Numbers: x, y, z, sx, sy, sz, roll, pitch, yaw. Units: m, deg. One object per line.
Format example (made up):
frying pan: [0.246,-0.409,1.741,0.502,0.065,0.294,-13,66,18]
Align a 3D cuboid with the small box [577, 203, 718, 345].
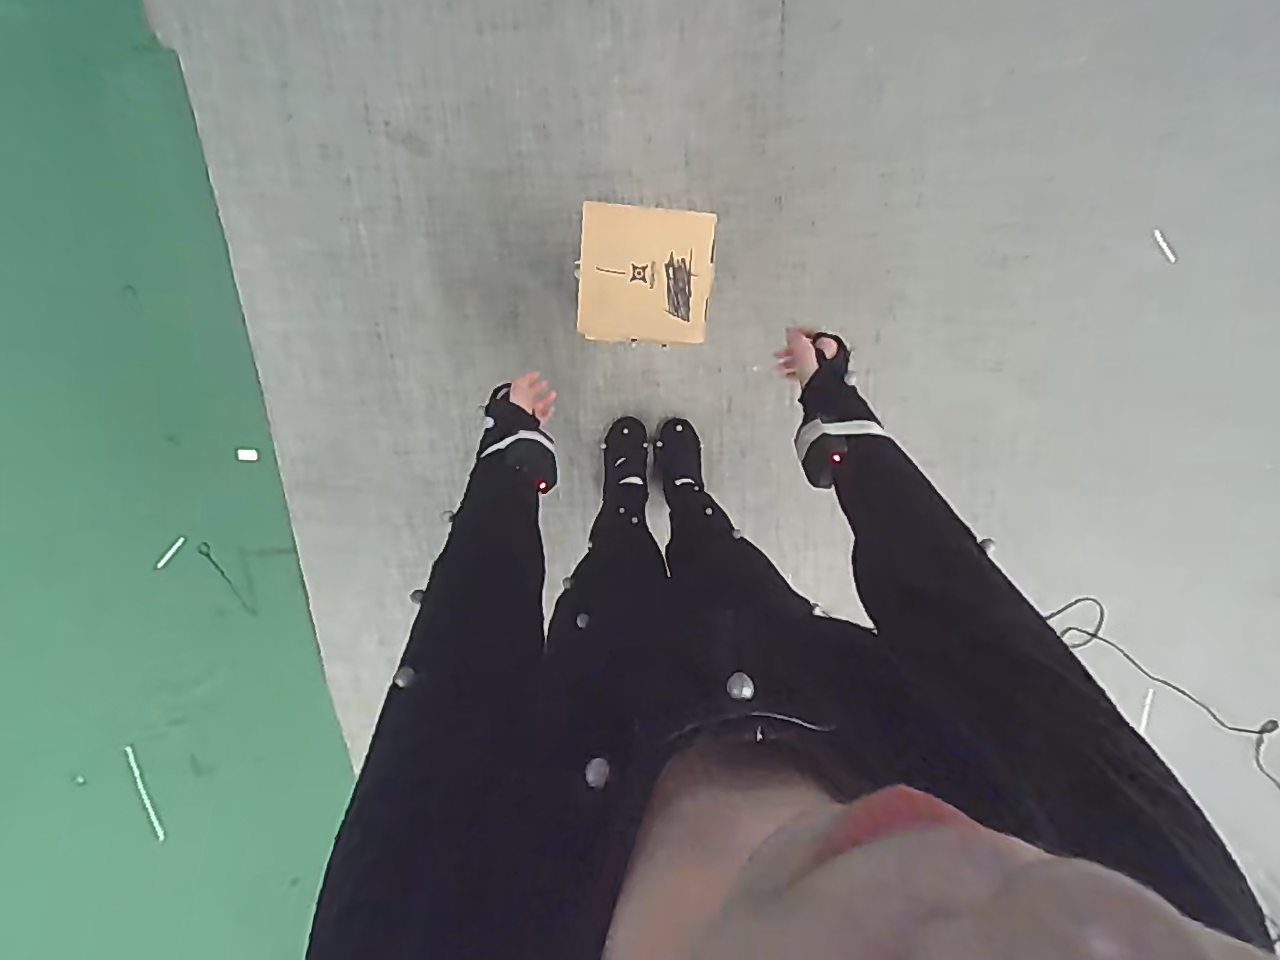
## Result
small box: [0.008,-0.292,0.794,0.179,0.176,0.168,5,105,-1]
